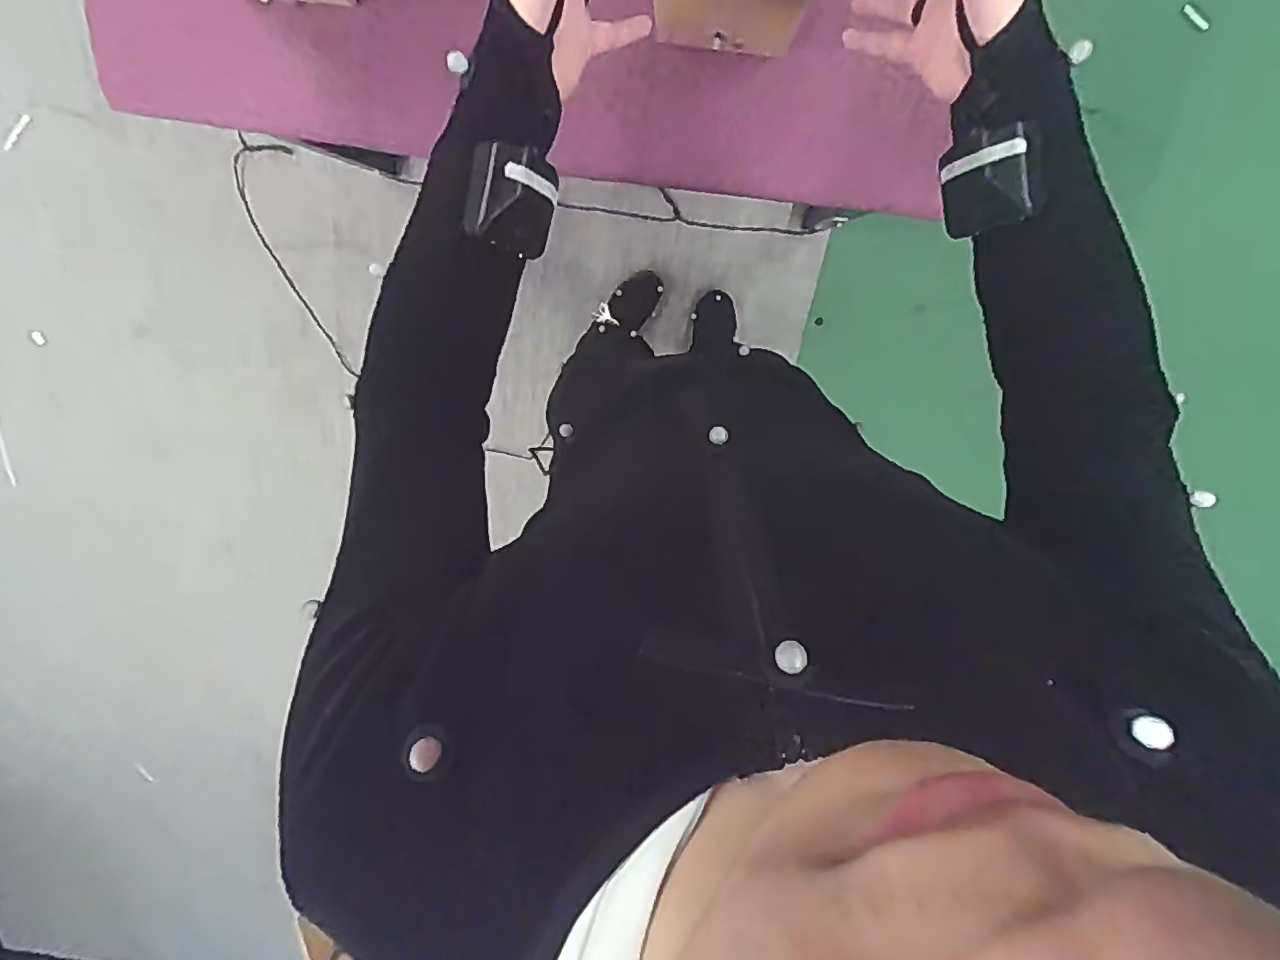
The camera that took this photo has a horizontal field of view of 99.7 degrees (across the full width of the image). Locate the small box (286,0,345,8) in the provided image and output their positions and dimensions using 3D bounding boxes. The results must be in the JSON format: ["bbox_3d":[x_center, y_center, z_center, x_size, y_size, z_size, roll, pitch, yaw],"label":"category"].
[{"bbox_3d":[-0.450,-0.675,0.595,0.168,0.176,0.179,8,110,1],"label":"small box"}]
